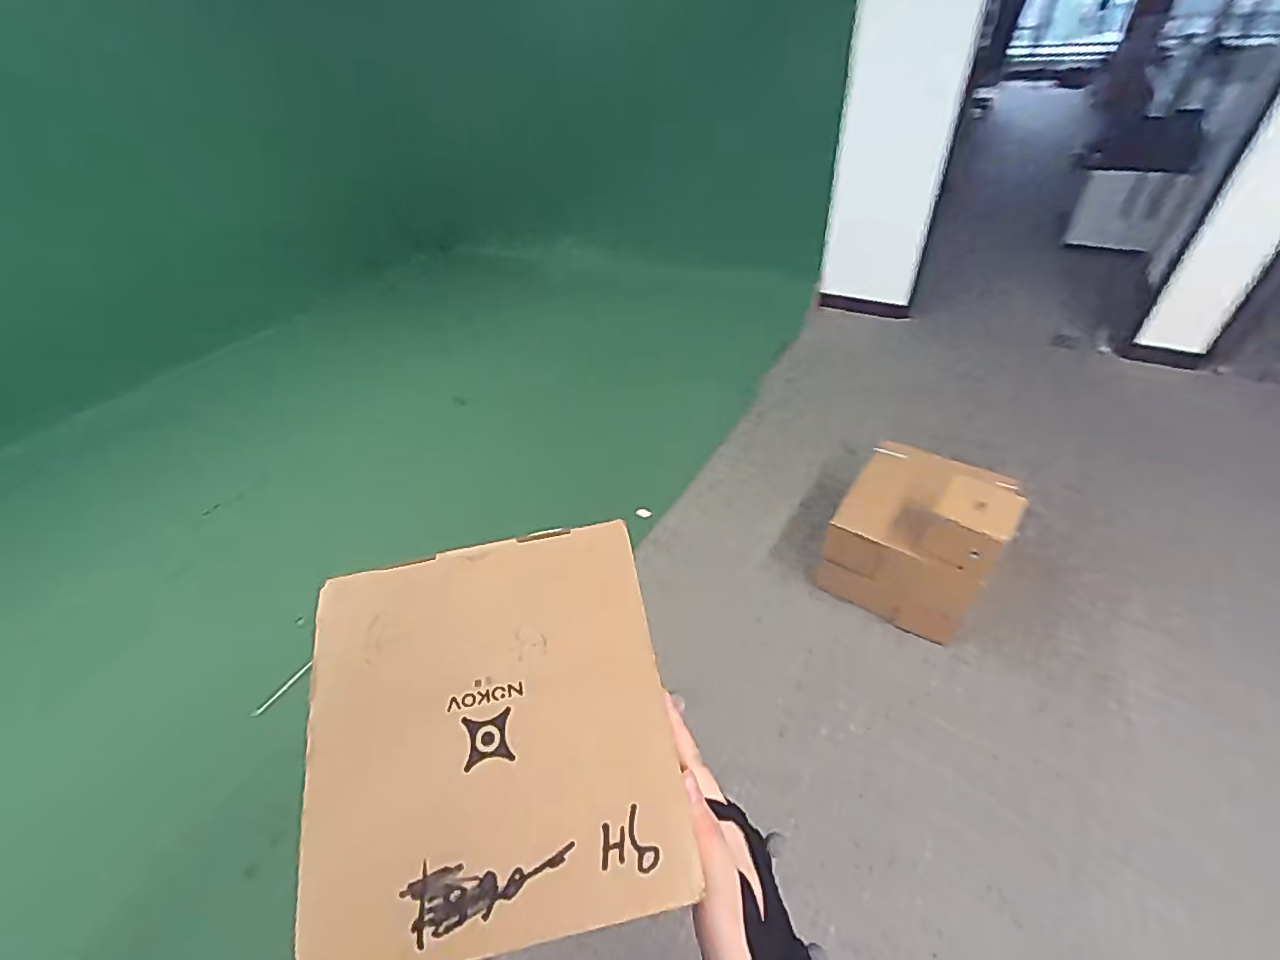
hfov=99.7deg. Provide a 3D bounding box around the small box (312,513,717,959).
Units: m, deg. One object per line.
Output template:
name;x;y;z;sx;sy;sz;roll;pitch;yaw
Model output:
small box;-0.060;0.144;0.326;0.168;0.176;0.179;-11;61;-3

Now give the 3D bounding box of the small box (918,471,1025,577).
small box;0.833;0.114;1.374;0.168;0.176;0.179;28;52;30
